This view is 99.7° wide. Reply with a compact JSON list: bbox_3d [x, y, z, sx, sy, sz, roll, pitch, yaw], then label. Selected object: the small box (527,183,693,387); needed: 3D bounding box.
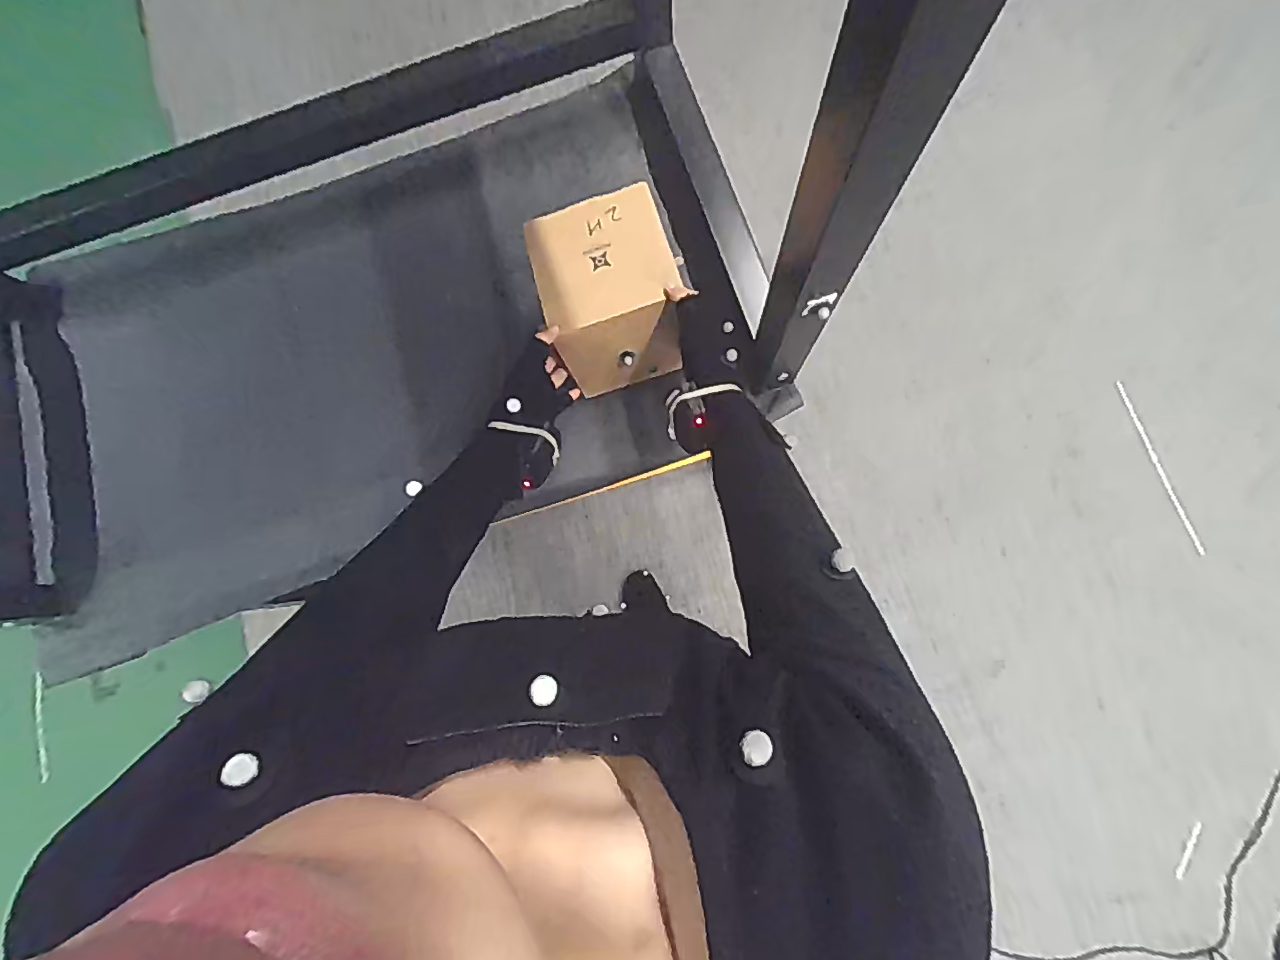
[{"bbox_3d":[-0.032,-0.244,0.723,0.168,0.176,0.179,-17,71,4],"label":"small box"}]
